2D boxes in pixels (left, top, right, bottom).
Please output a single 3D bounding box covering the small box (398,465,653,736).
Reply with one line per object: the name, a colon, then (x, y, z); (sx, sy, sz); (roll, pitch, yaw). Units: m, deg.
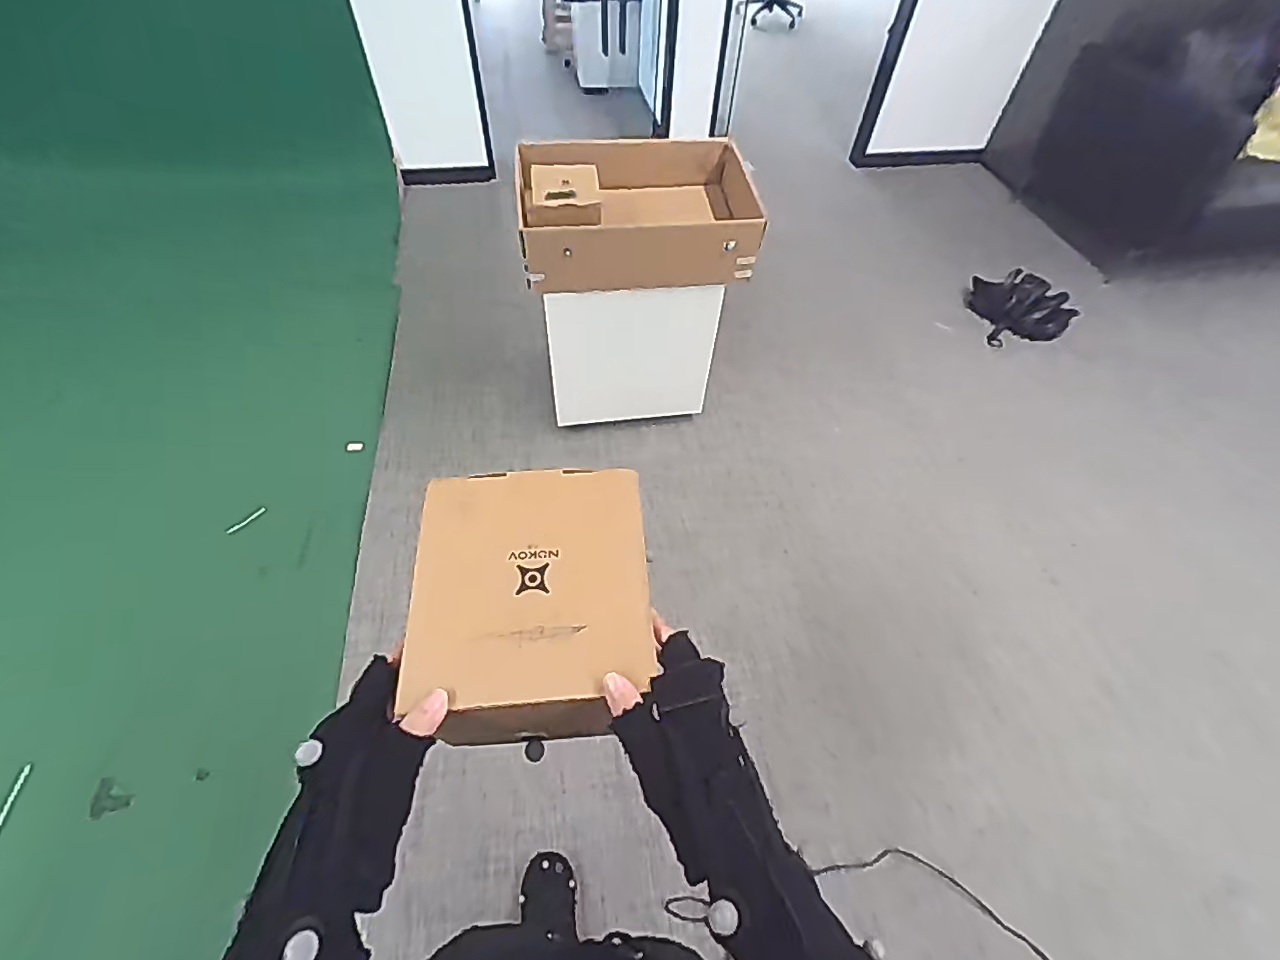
small box: (-0.082, 0.105, 0.457); (0.168, 0.176, 0.179); (-2, 58, -5)
